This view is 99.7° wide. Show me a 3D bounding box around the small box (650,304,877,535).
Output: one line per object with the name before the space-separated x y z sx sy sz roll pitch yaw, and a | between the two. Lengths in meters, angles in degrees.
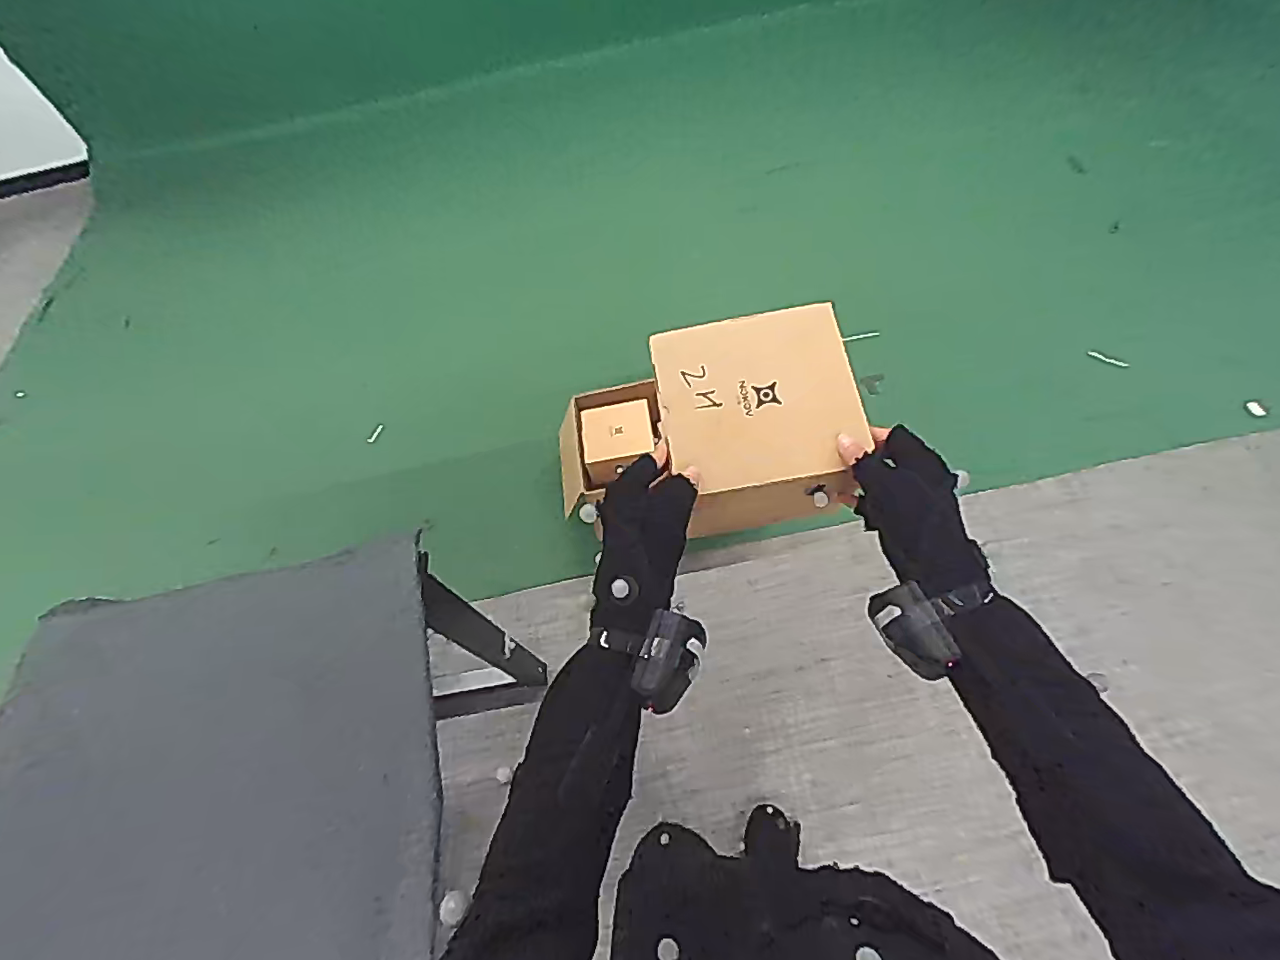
small box | 0.112 -0.049 0.556 0.179 0.176 0.168 -10 70 4
